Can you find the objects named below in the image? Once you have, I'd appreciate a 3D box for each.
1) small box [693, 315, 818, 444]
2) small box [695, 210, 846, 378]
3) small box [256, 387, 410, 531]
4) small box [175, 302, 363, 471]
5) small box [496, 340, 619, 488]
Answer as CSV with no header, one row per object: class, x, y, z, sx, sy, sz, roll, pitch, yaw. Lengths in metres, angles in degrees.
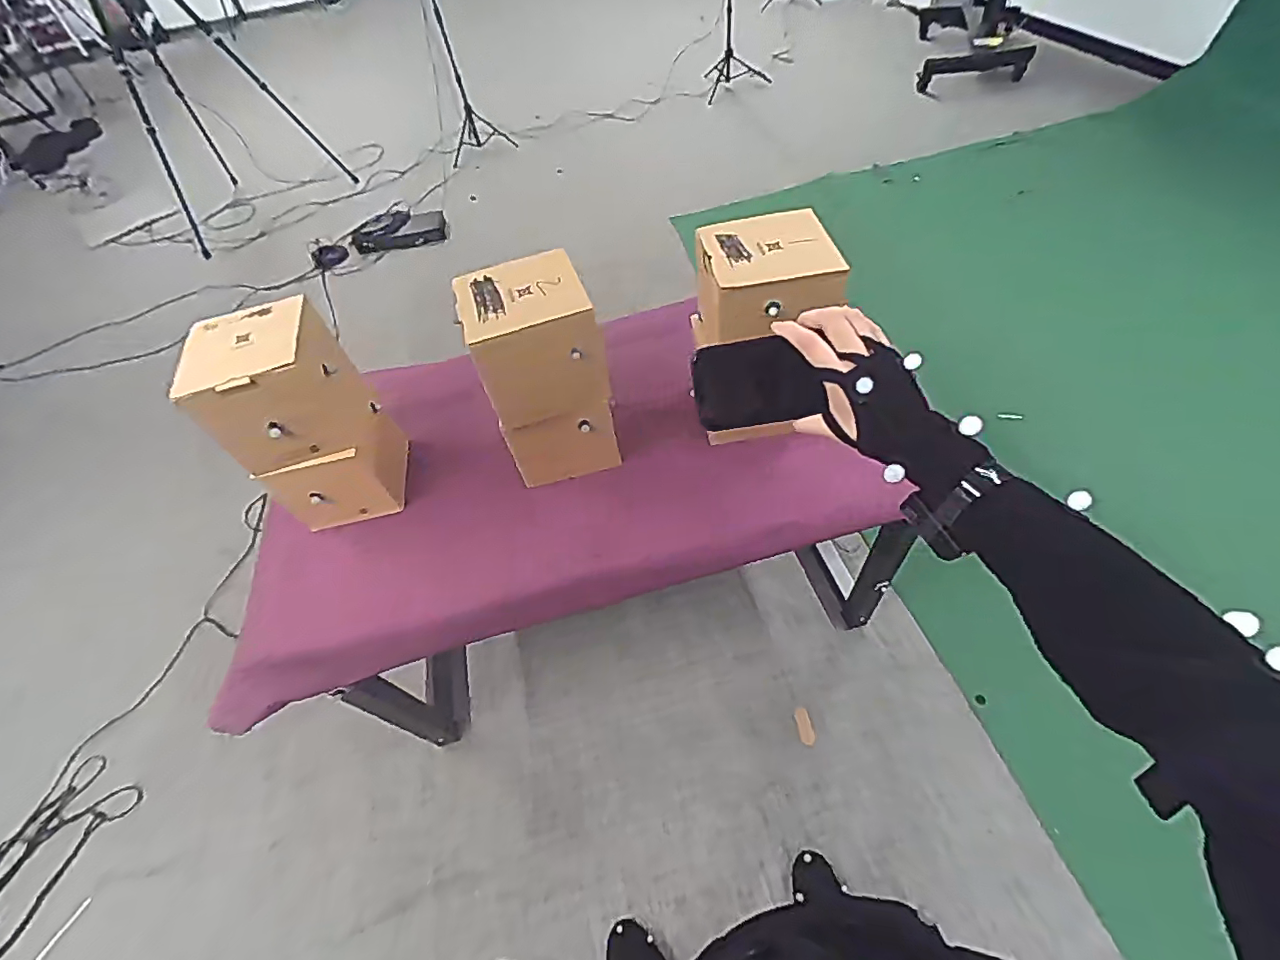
small box,0.195,-0.185,0.953,0.179,0.176,0.168,-10,52,2
small box,0.186,-0.274,0.815,0.179,0.176,0.168,-10,52,1
small box,-0.520,-0.029,0.947,0.168,0.176,0.179,-14,52,-2
small box,-0.543,-0.133,0.822,0.168,0.176,0.179,-18,53,-6
small box,-0.138,-0.112,0.948,0.179,0.176,0.168,-15,52,-2
